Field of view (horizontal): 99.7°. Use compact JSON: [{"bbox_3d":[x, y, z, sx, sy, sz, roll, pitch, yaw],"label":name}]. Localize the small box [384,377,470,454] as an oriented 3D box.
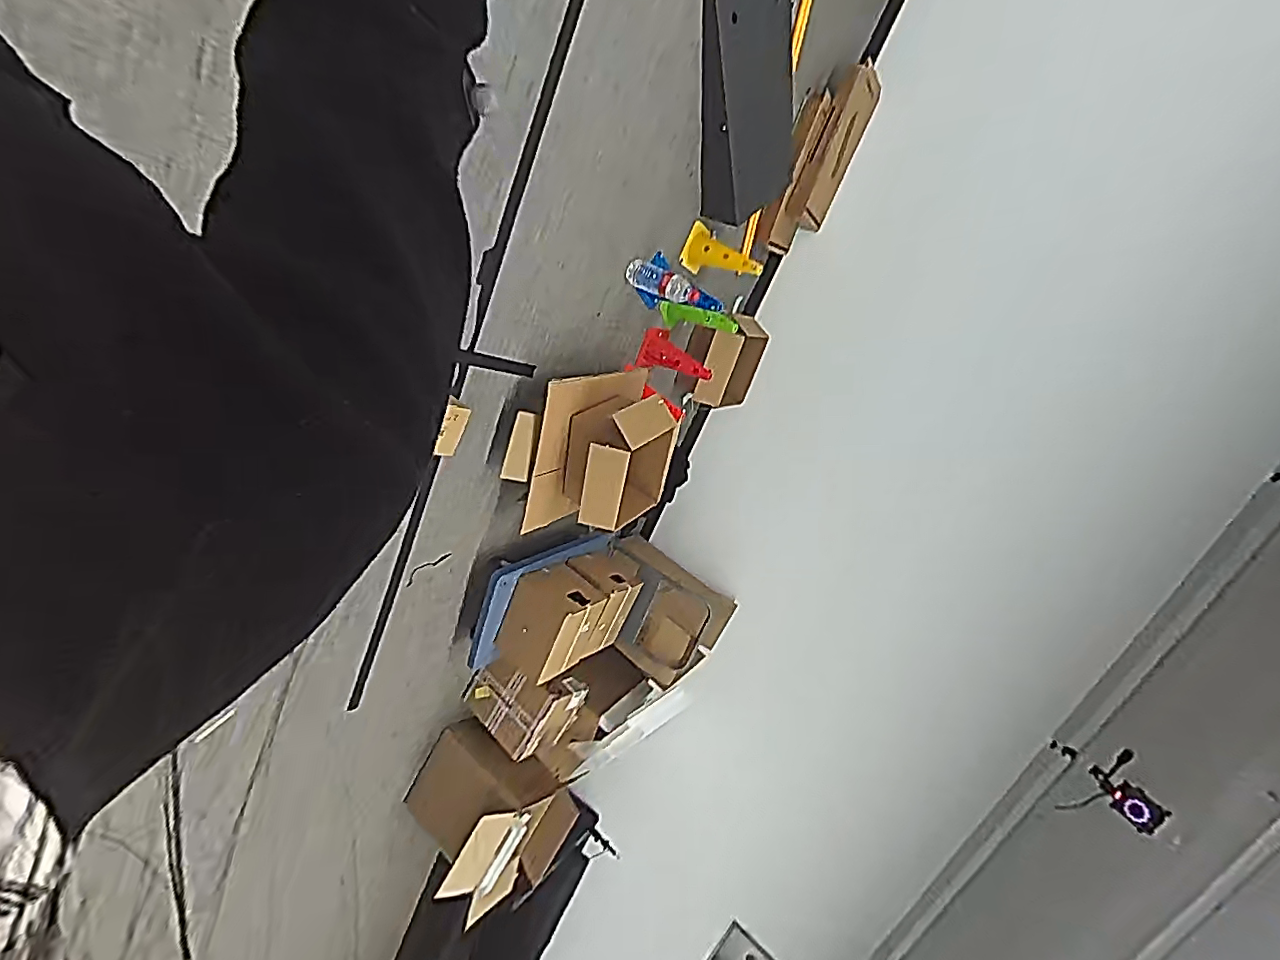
[{"bbox_3d":[-0.683,-0.203,1.722,0.168,0.176,0.179,2,118,-62],"label":"small box"}]
